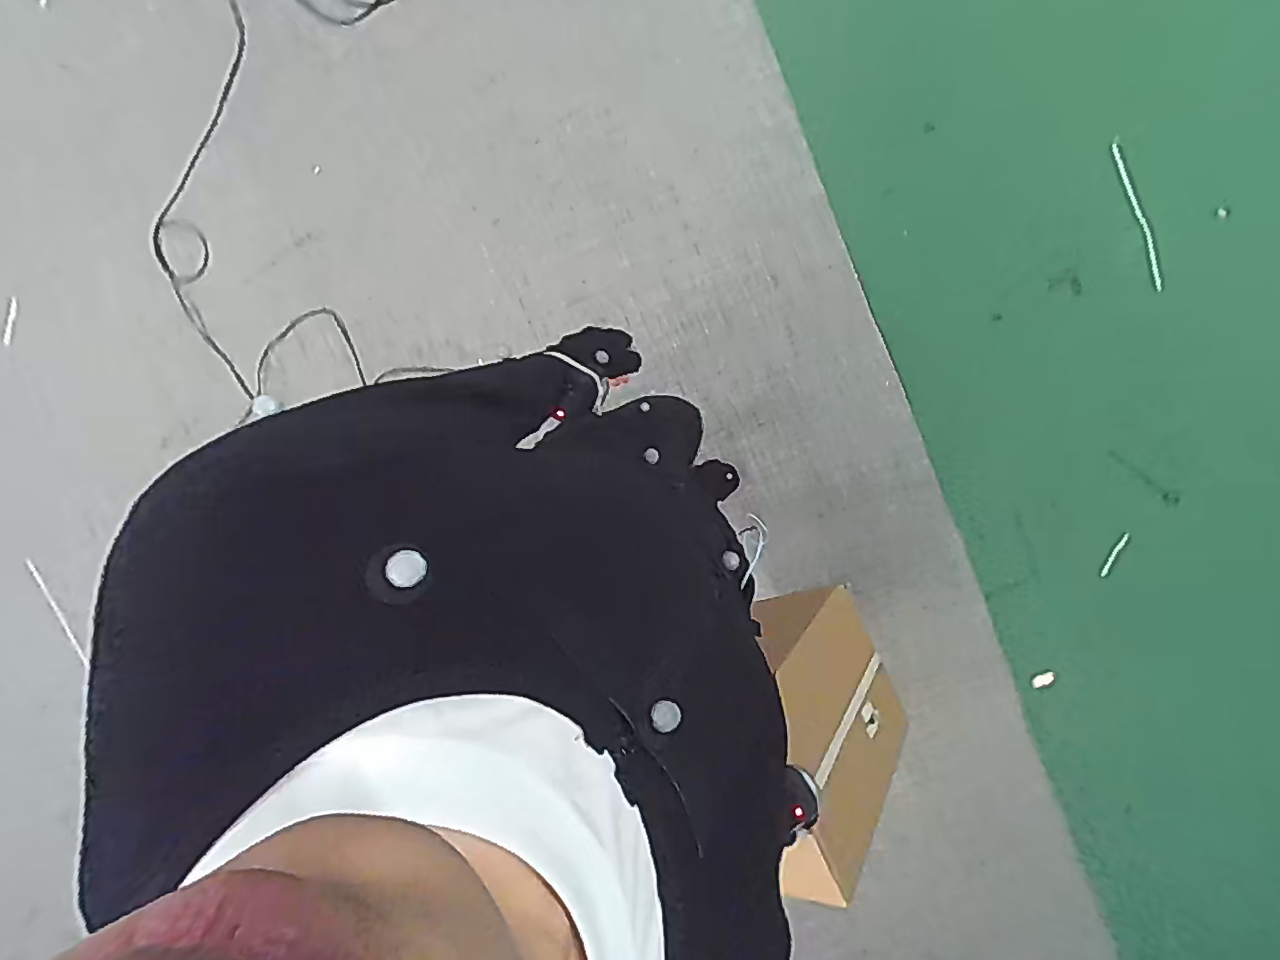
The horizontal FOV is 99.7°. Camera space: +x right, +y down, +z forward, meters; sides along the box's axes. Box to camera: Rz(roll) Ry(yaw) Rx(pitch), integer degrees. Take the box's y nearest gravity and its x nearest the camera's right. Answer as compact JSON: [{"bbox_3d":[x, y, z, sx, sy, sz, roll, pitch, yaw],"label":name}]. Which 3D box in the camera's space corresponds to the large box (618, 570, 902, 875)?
[{"bbox_3d":[0.234,0.419,1.008,0.320,0.408,0.320,-23,92,40],"label":"large box"}]
